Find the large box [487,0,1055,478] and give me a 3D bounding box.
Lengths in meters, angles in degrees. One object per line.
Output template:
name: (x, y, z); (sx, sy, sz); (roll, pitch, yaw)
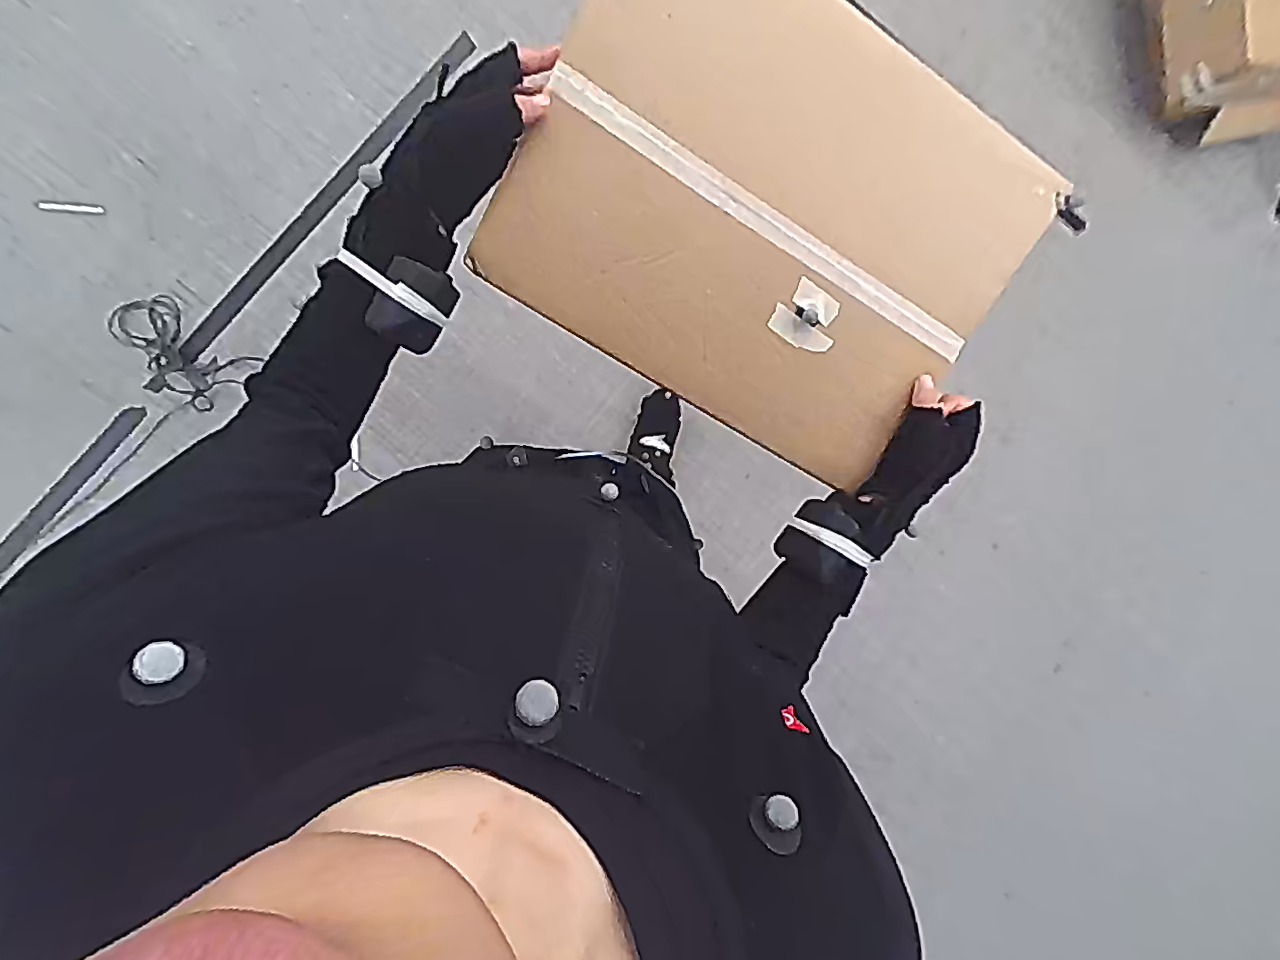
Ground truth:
large box: (0.103, -0.259, 0.600); (0.408, 0.320, 0.320); (29, 103, -12)
